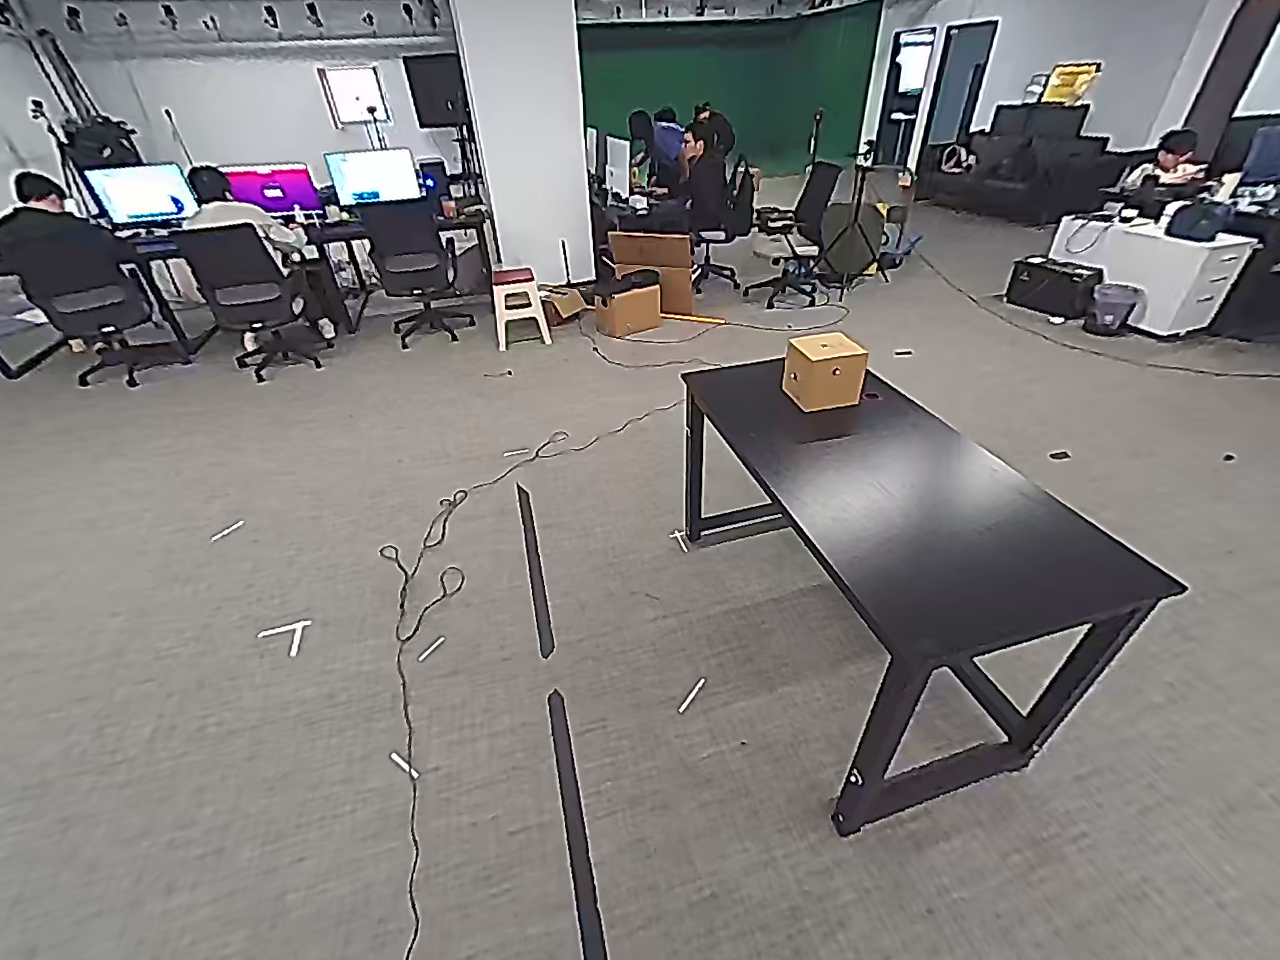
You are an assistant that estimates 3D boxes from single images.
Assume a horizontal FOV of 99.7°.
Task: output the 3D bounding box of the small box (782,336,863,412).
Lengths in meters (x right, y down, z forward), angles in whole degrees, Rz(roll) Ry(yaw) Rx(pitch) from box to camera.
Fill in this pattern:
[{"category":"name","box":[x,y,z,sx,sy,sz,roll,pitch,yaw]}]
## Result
[{"category":"small box","box":[0.543,-0.320,1.640,0.179,0.176,0.168,-10,37,-9]}]
